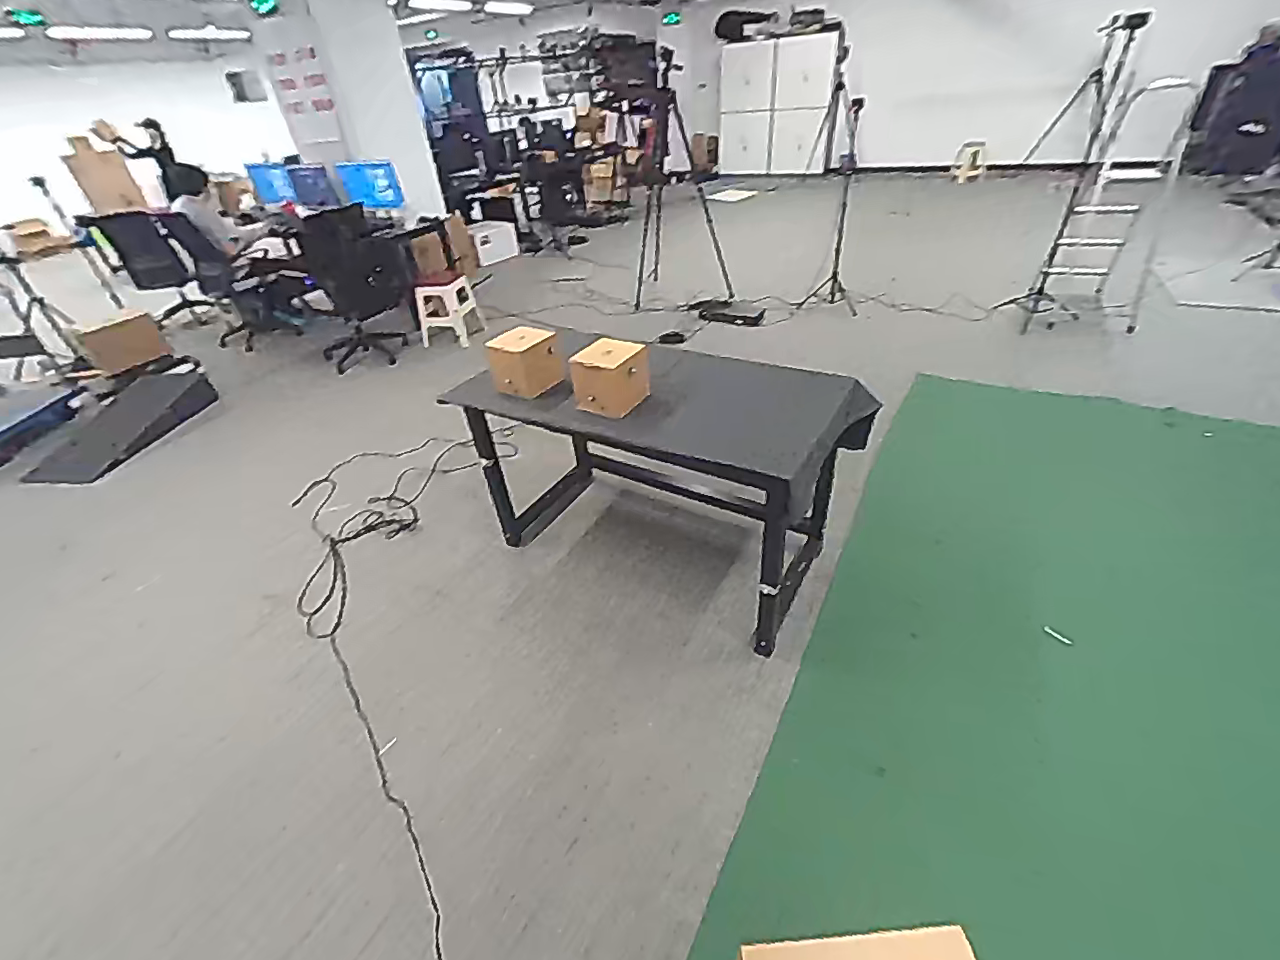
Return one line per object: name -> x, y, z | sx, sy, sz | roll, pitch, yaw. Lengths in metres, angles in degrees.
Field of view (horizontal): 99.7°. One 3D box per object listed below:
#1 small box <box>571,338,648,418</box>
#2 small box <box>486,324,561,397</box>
small box -> -0.088, -0.314, 1.654 | 0.168, 0.176, 0.179 | 18, 42, 27
small box -> -0.378, -0.397, 1.793 | 0.168, 0.176, 0.179 | 19, 42, 29
